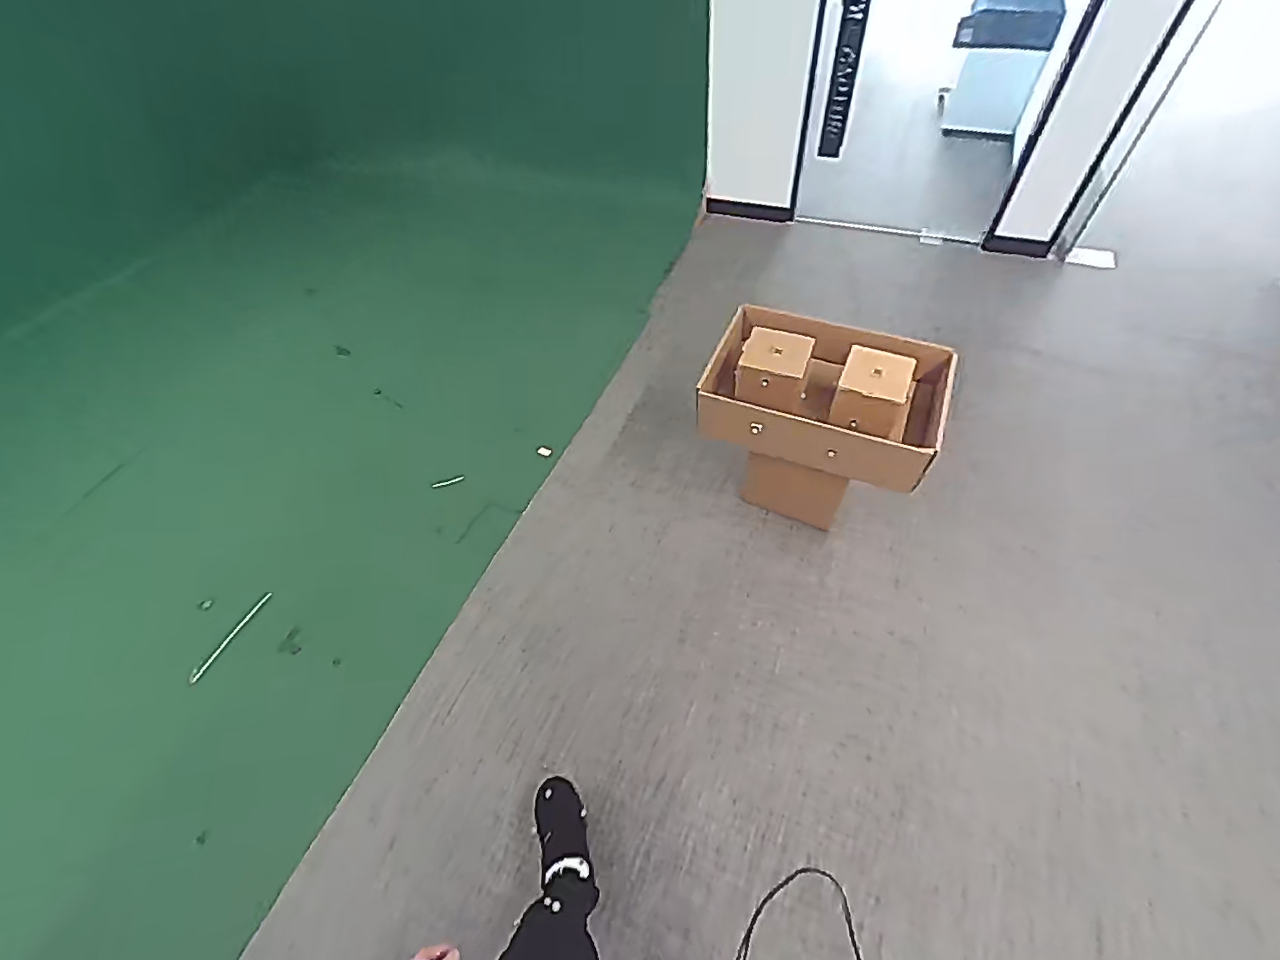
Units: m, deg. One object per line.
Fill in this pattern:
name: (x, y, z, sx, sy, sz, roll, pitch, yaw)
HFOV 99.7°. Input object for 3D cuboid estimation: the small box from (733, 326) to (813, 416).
small box: (0.371, -0.306, 1.537, 0.179, 0.176, 0.168, 18, 58, 16)

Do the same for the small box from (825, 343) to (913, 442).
small box: (0.614, -0.235, 1.463, 0.168, 0.176, 0.179, 19, 58, 17)
